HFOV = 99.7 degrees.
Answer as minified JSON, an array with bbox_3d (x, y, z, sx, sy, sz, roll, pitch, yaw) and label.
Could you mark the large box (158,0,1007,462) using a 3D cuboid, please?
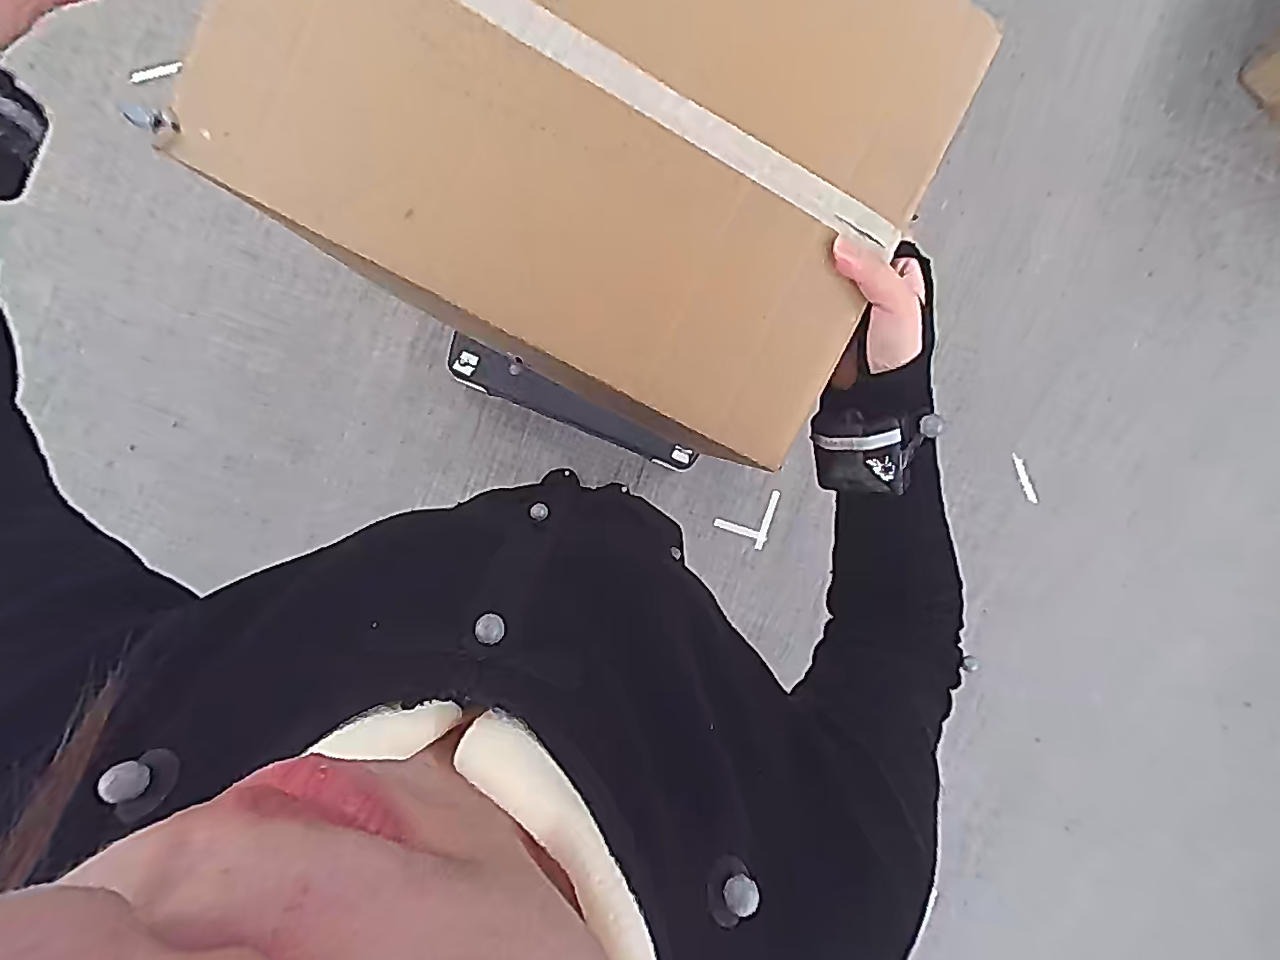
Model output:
[{"bbox_3d":[-0.032,-0.247,0.456,0.408,0.320,0.320,27,93,-8],"label":"large box"}]
